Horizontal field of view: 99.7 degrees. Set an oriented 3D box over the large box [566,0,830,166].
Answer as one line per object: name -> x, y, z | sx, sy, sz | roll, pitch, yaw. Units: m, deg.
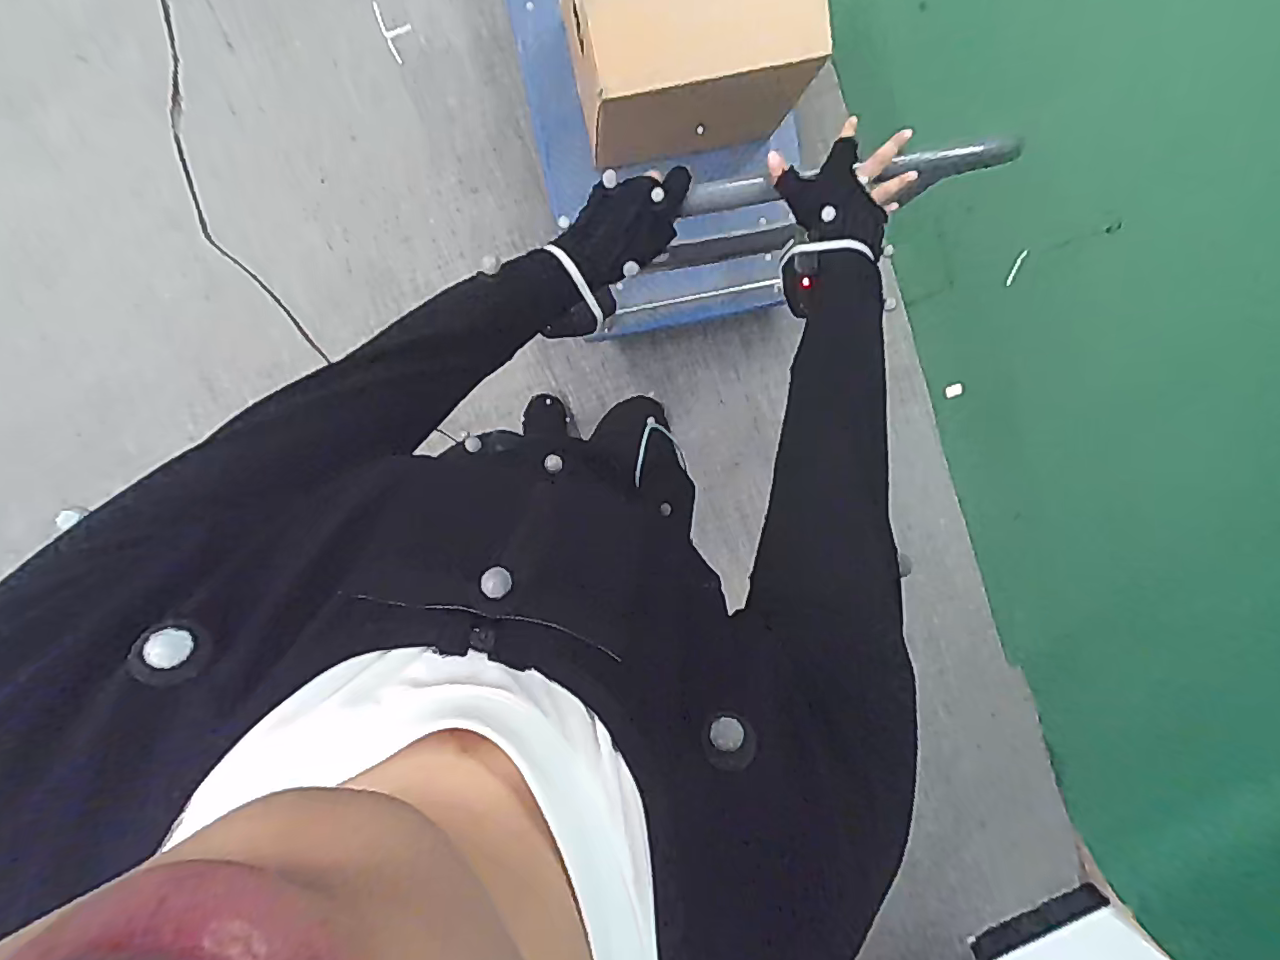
large box -> 0.087, -0.850, 1.025 | 0.408, 0.320, 0.320 | -14, 101, -3
